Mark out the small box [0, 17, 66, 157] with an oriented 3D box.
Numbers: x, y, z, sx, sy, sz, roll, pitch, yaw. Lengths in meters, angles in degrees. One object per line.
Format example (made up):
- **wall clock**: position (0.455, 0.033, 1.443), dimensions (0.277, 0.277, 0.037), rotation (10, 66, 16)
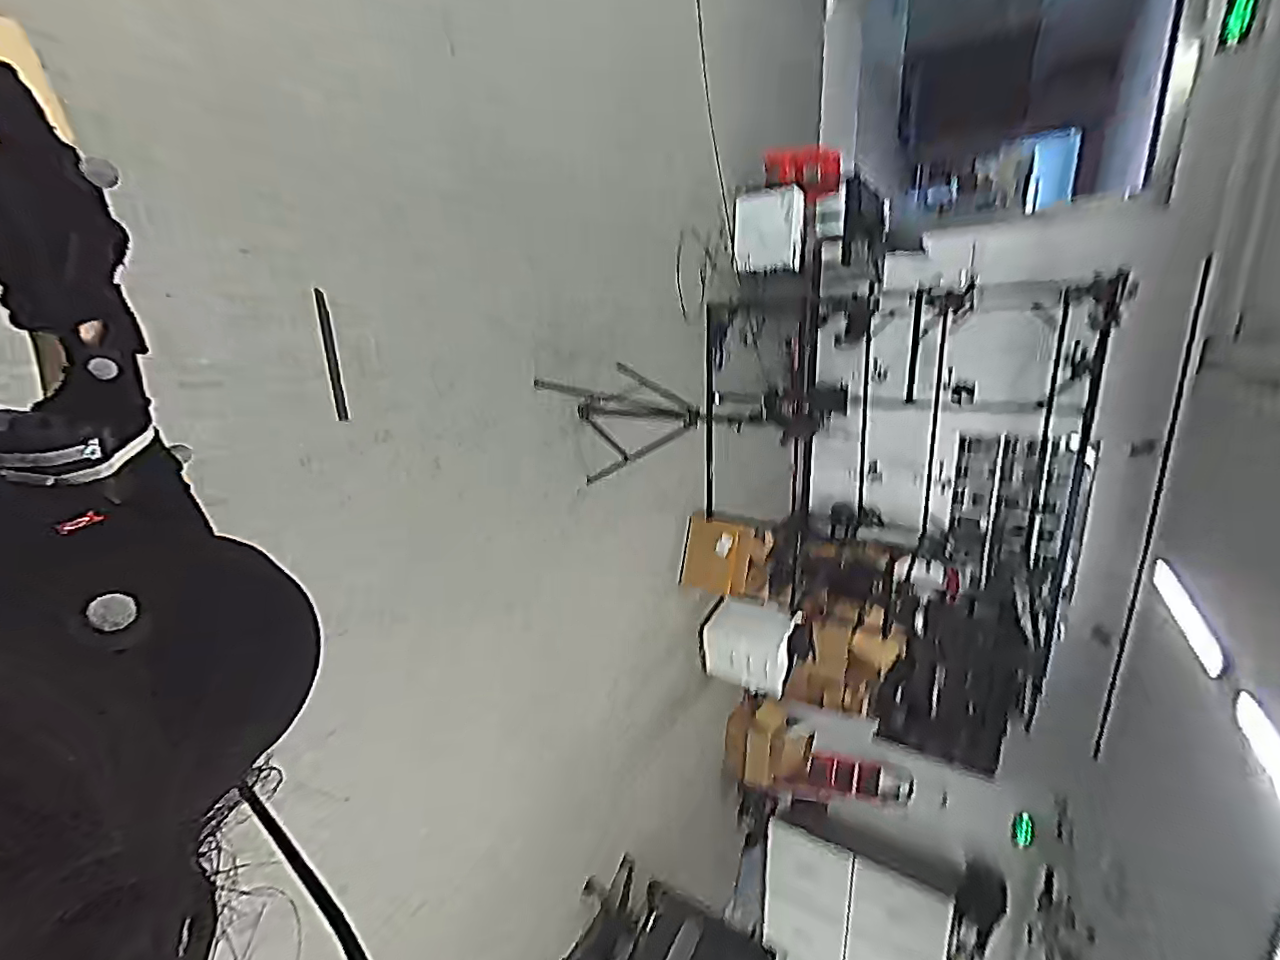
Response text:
- **small box**: position (-1.119, -0.646, 0.889), dimensions (0.168, 0.176, 0.179), rotation (-40, 128, -50)
